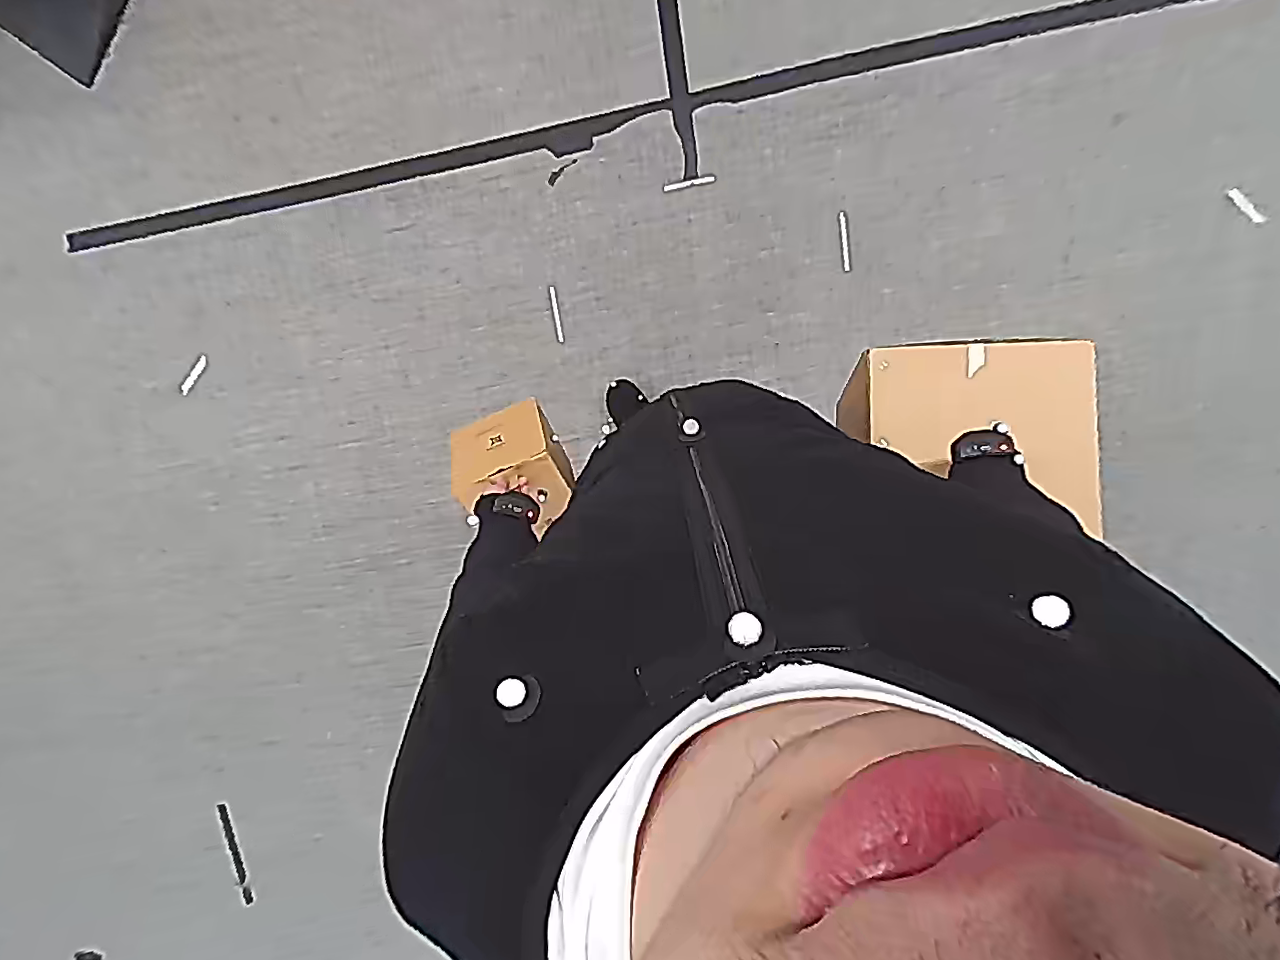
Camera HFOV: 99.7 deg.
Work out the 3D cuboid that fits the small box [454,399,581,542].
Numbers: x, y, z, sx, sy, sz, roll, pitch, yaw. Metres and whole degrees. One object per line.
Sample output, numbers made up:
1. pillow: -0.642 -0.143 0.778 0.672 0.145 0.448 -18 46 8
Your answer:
1. small box: -0.219 -0.010 0.981 0.168 0.179 0.176 -23 130 0
